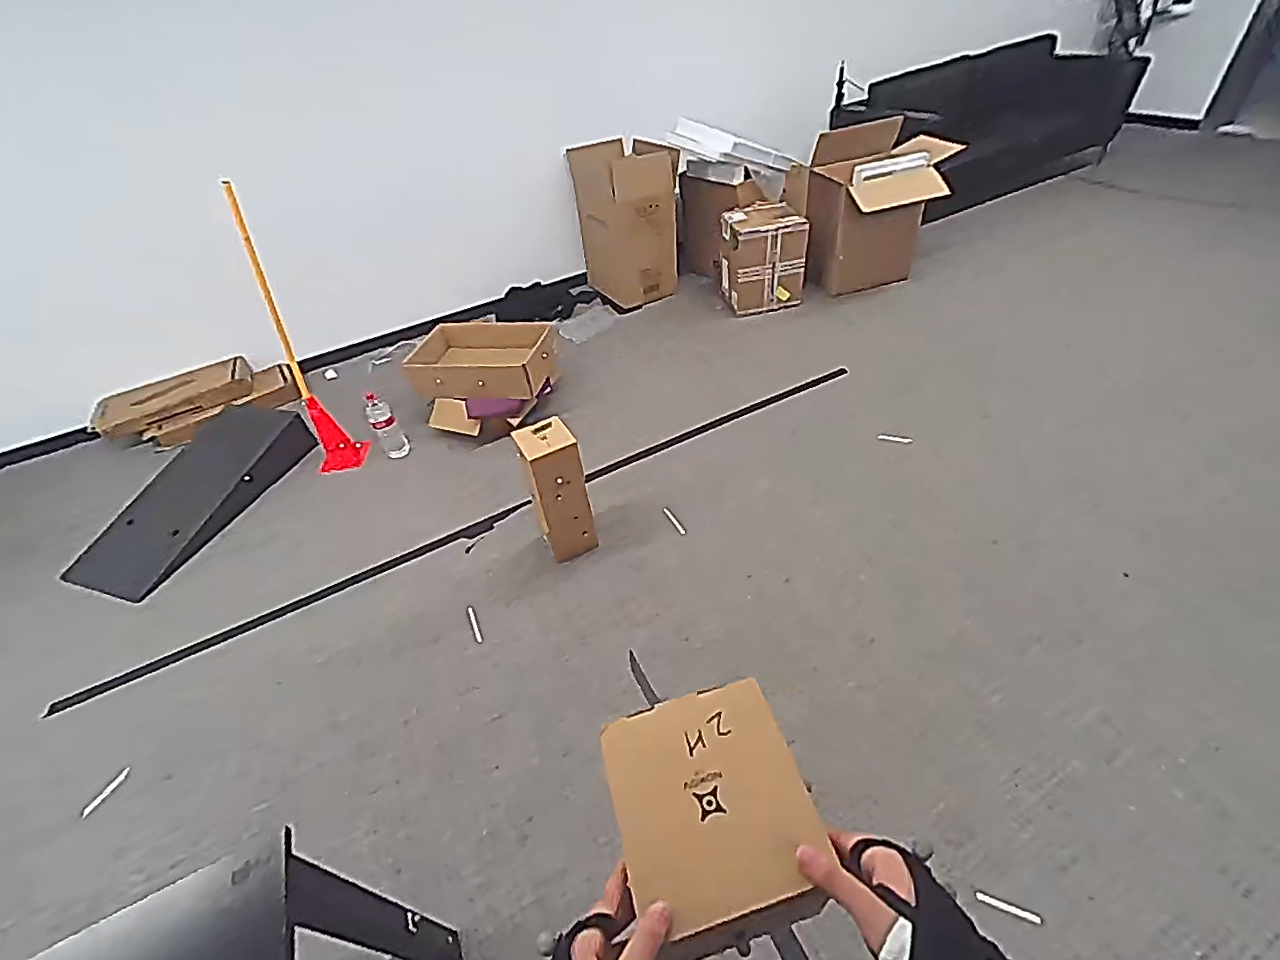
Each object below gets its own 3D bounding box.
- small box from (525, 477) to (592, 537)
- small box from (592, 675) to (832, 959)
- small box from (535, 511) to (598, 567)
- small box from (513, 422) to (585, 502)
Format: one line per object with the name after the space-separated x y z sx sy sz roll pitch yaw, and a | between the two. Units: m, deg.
-0.283 0.067 1.895 0.168 0.176 0.179 -25 43 -17 | small box
0.063 0.329 0.526 0.168 0.176 0.179 -16 43 -7 | small box
-0.266 0.188 2.004 0.179 0.176 0.168 -24 43 -15 | small box
-0.298 -0.058 1.788 0.168 0.176 0.179 -24 44 -17 | small box
